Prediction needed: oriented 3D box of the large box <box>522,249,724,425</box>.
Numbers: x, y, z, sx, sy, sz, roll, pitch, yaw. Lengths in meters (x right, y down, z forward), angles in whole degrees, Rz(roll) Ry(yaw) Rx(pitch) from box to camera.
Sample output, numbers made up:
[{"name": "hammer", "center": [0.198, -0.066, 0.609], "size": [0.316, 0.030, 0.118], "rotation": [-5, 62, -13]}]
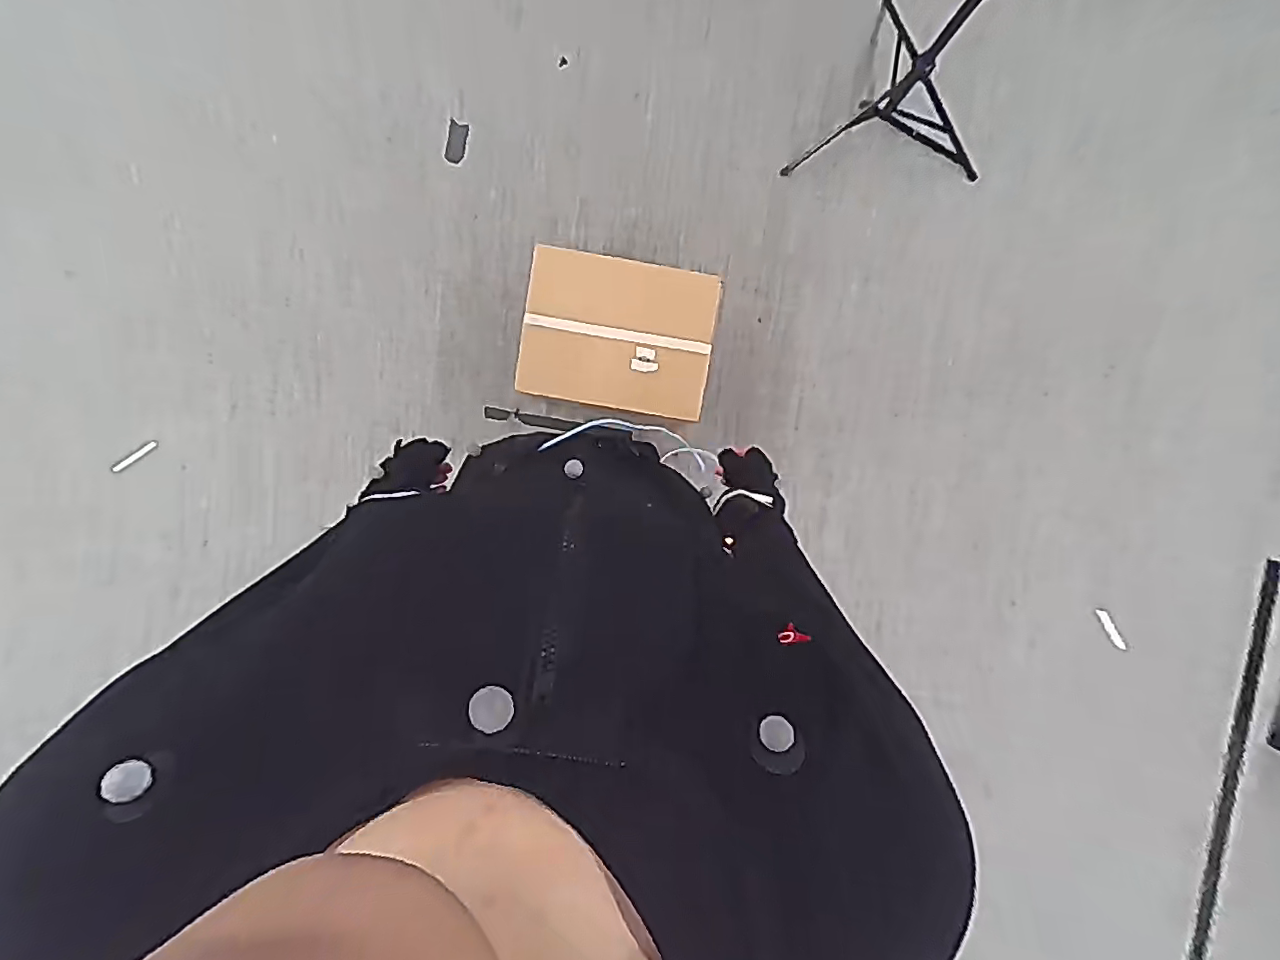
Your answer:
[{"name": "large box", "center": [-0.043, -0.321, 1.310], "size": [0.408, 0.320, 0.320], "rotation": [10, 94, -2]}]
